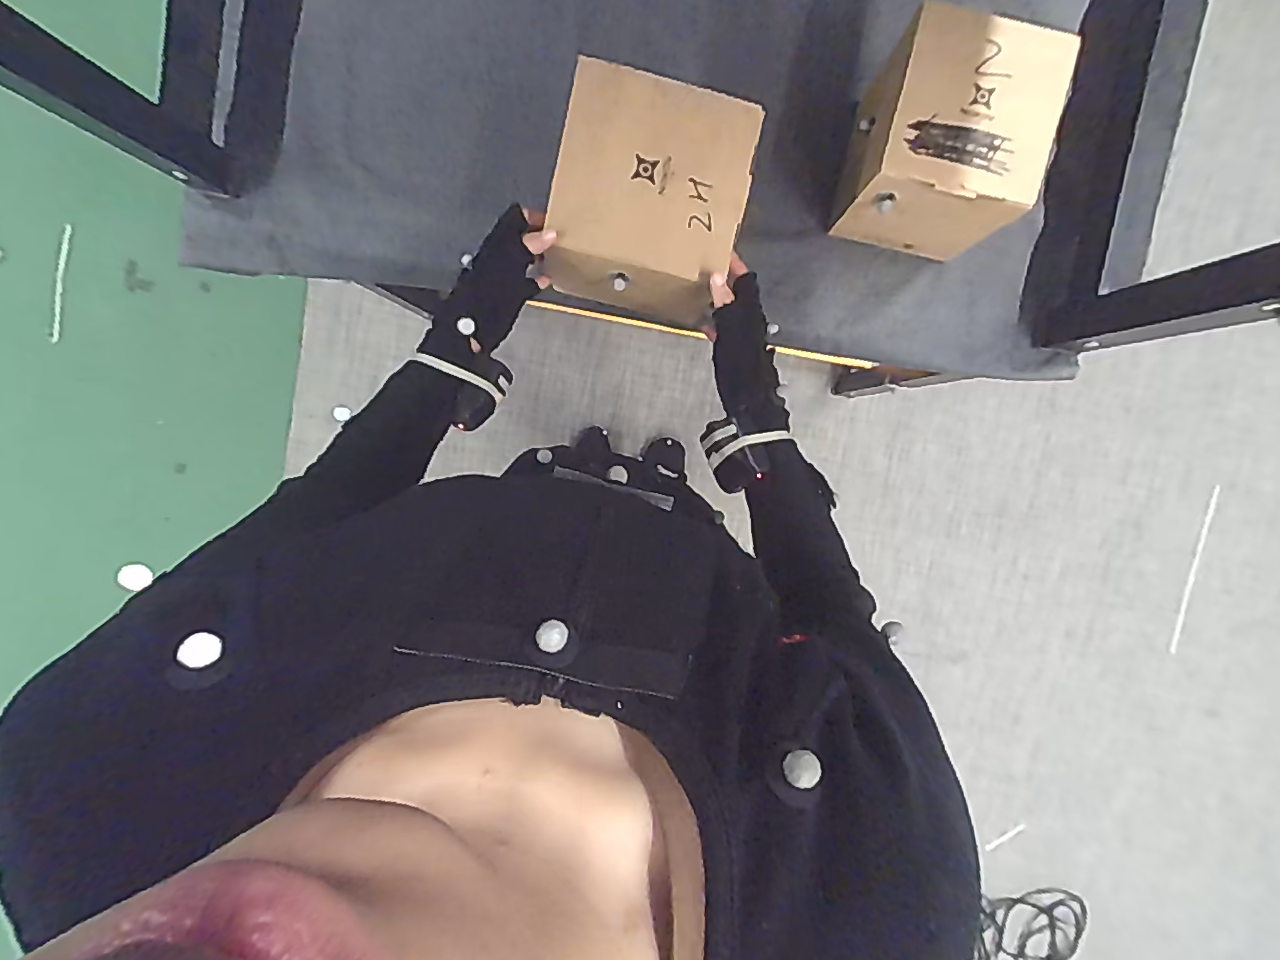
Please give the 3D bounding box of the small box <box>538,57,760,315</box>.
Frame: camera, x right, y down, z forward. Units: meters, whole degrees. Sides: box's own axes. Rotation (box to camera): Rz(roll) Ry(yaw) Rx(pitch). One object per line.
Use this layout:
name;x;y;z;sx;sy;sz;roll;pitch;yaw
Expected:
small box;0.002;-0.286;0.571;0.179;0.176;0.168;12;95;-6
